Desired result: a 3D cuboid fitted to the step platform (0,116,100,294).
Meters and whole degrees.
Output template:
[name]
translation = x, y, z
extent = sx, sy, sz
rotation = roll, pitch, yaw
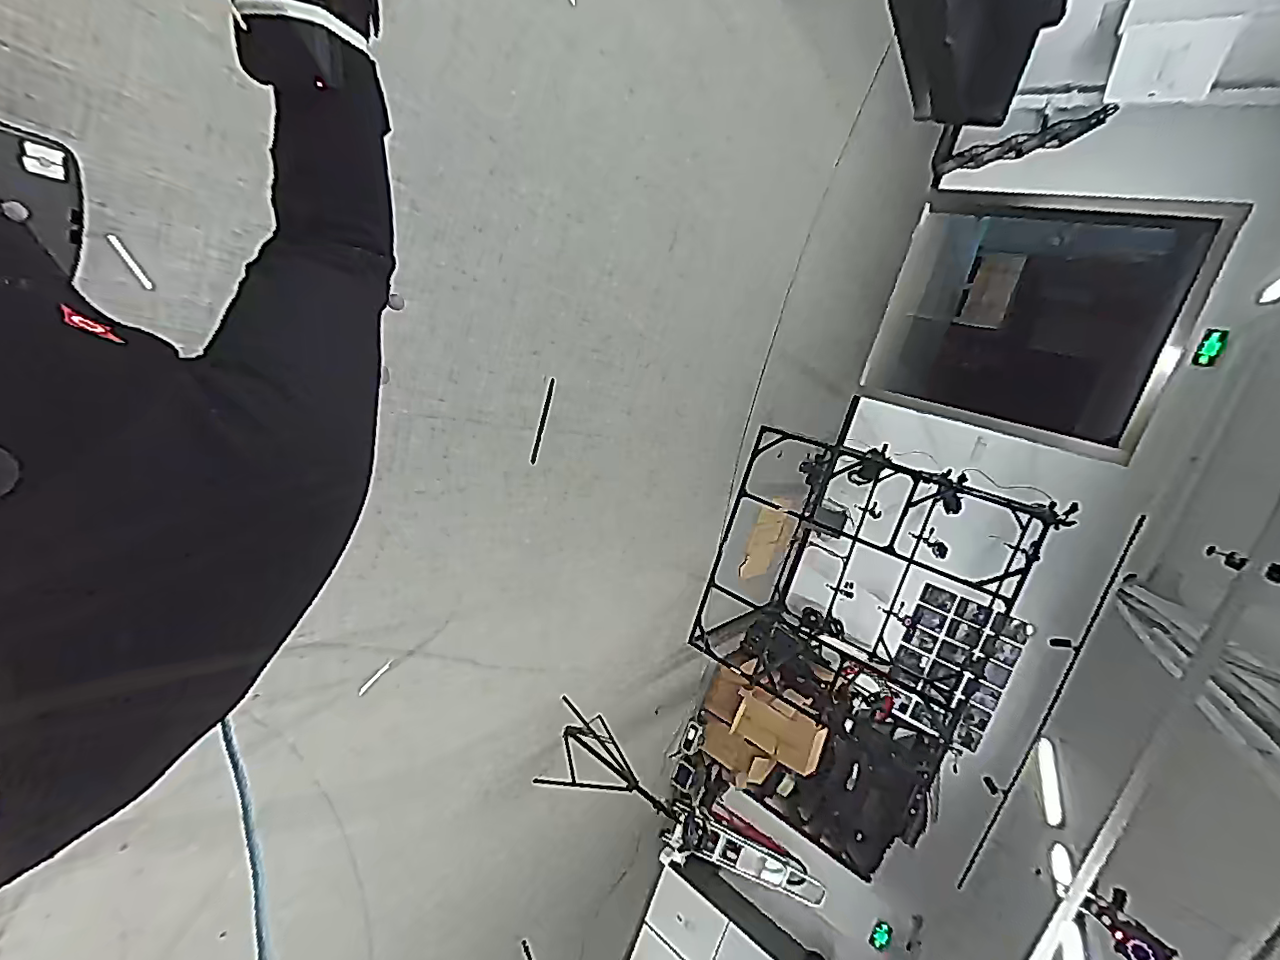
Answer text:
[step platform]
translation = -1.284, -0.503, 0.802
extent = 0.684, 0.204, 0.286
rotation = -3, 112, -57
